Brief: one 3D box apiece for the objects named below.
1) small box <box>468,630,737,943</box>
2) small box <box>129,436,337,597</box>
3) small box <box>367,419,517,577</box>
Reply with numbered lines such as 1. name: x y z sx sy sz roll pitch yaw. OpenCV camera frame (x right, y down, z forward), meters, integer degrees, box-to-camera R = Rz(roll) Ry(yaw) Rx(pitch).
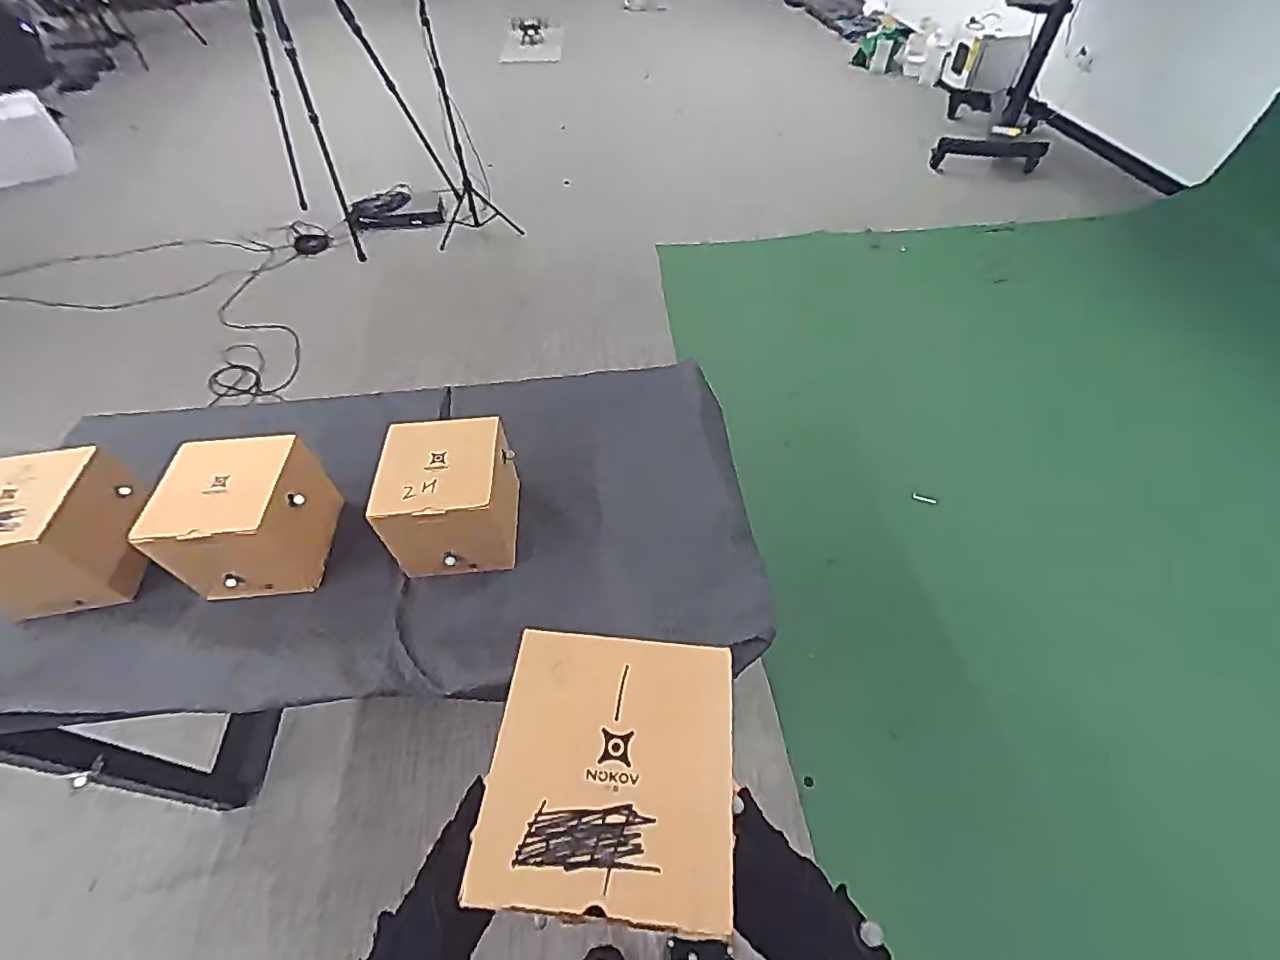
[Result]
1. small box: -0.016 0.243 0.435 0.168 0.176 0.179 5 52 3
2. small box: -0.583 0.055 0.810 0.168 0.176 0.179 -4 52 -4
3. small box: -0.287 0.028 0.830 0.168 0.176 0.179 -4 51 -3
